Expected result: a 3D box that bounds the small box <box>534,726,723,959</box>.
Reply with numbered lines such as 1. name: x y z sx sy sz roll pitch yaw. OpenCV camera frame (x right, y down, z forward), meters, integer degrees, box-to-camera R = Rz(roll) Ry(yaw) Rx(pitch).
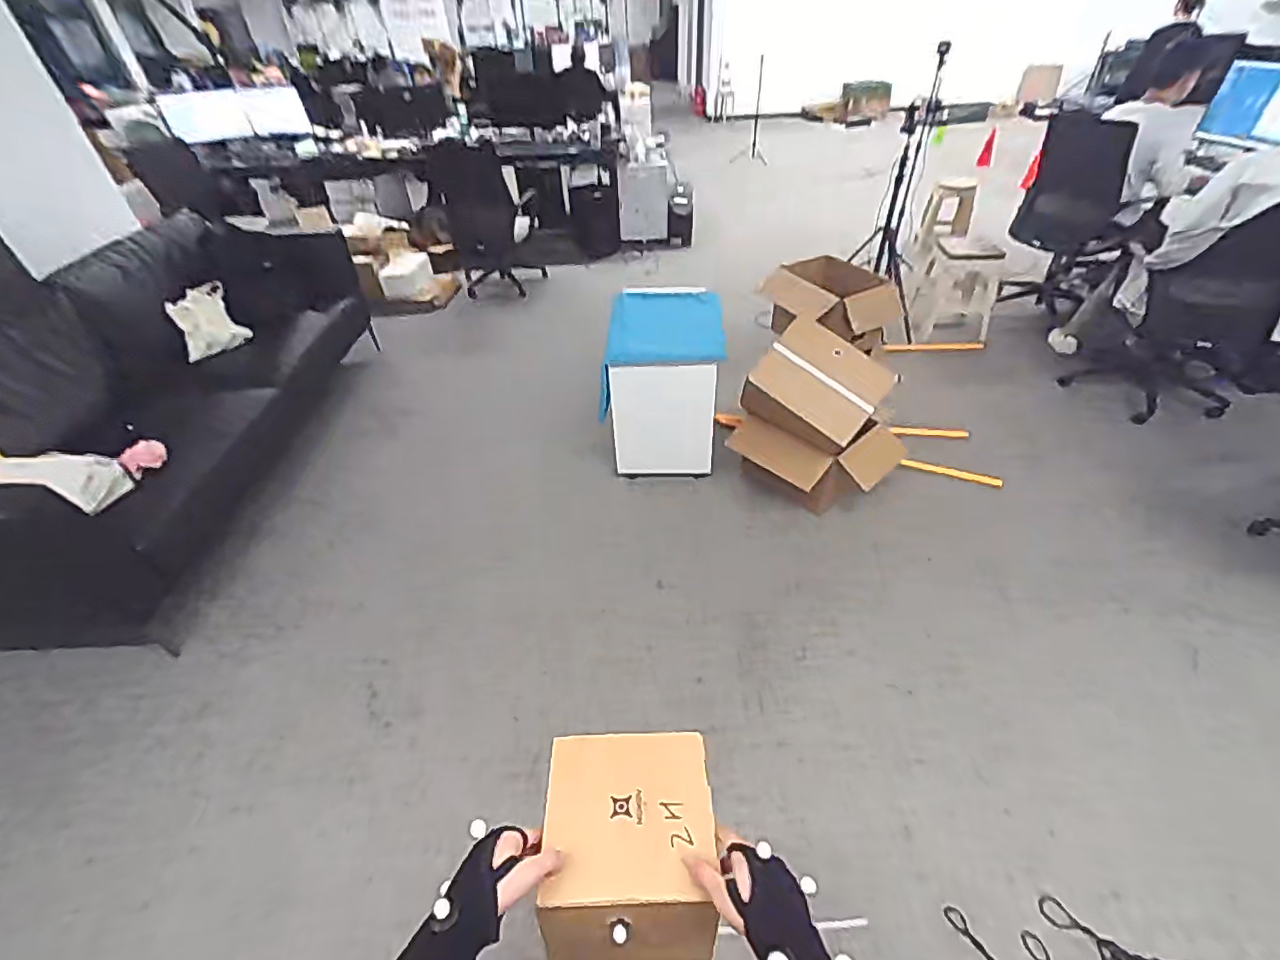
1. small box: -0.011 0.396 0.595 0.179 0.176 0.168 0 33 -2
